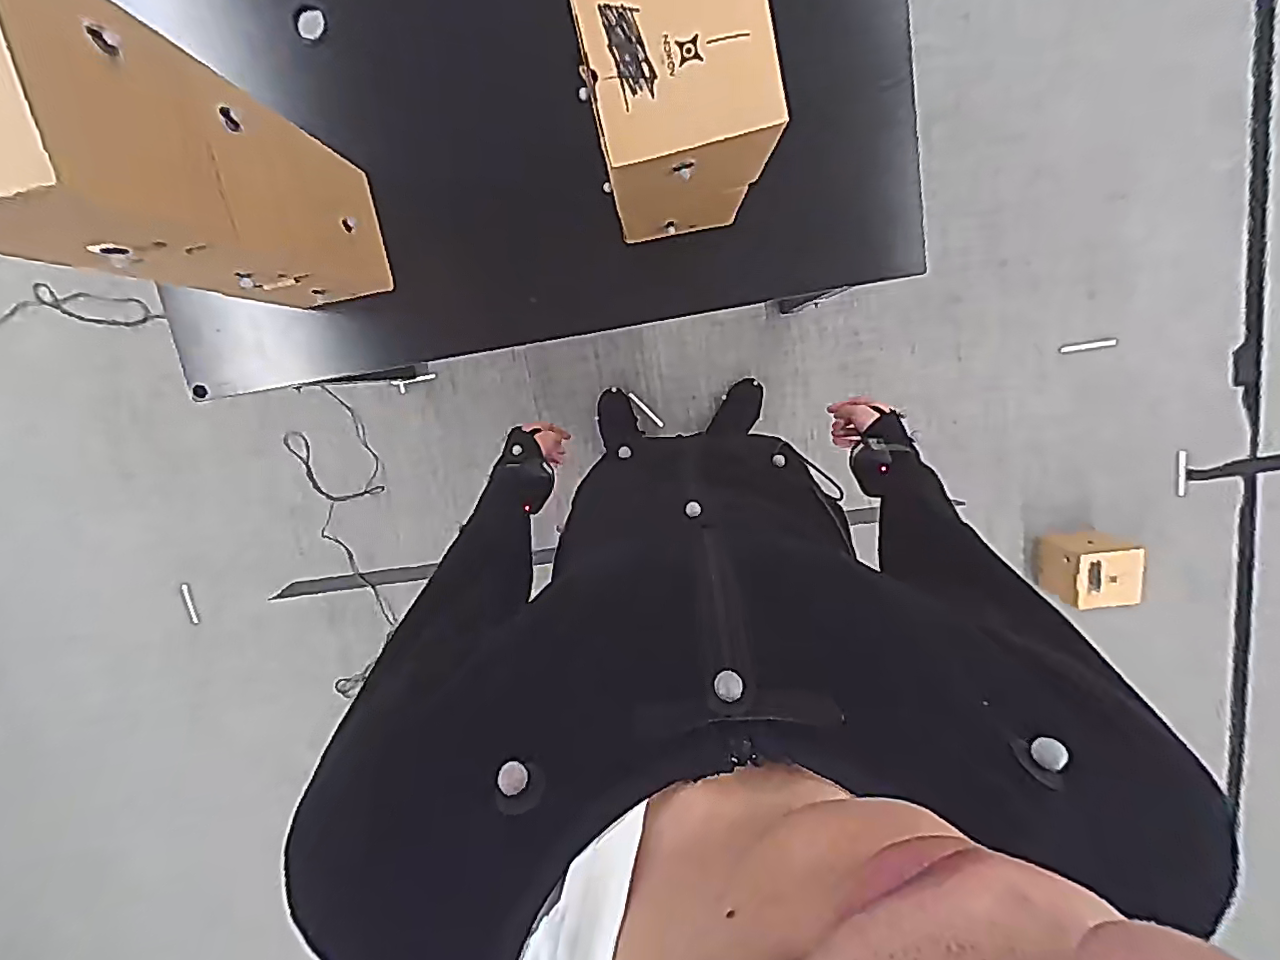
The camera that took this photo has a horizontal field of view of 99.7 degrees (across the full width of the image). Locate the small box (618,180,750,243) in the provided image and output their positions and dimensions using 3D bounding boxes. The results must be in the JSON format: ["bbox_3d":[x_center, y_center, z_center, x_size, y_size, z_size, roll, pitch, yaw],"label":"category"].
[{"bbox_3d":[0.044,-0.443,0.730,0.168,0.176,0.179,-9,101,3],"label":"small box"}]

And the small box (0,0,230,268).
[{"bbox_3d":[-0.492,-0.290,0.439,0.168,0.176,0.179,-10,101,5],"label":"small box"}]

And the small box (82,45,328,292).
[{"bbox_3d":[-0.489,-0.322,0.599,0.168,0.176,0.179,-10,101,4],"label":"small box"}]

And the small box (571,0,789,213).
[{"bbox_3d":[0.040,-0.405,0.570,0.179,0.176,0.168,-13,101,3],"label":"small box"}]

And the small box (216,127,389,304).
[{"bbox_3d":[-0.485,-0.353,0.761,0.168,0.176,0.179,-11,101,3],"label":"small box"}]
